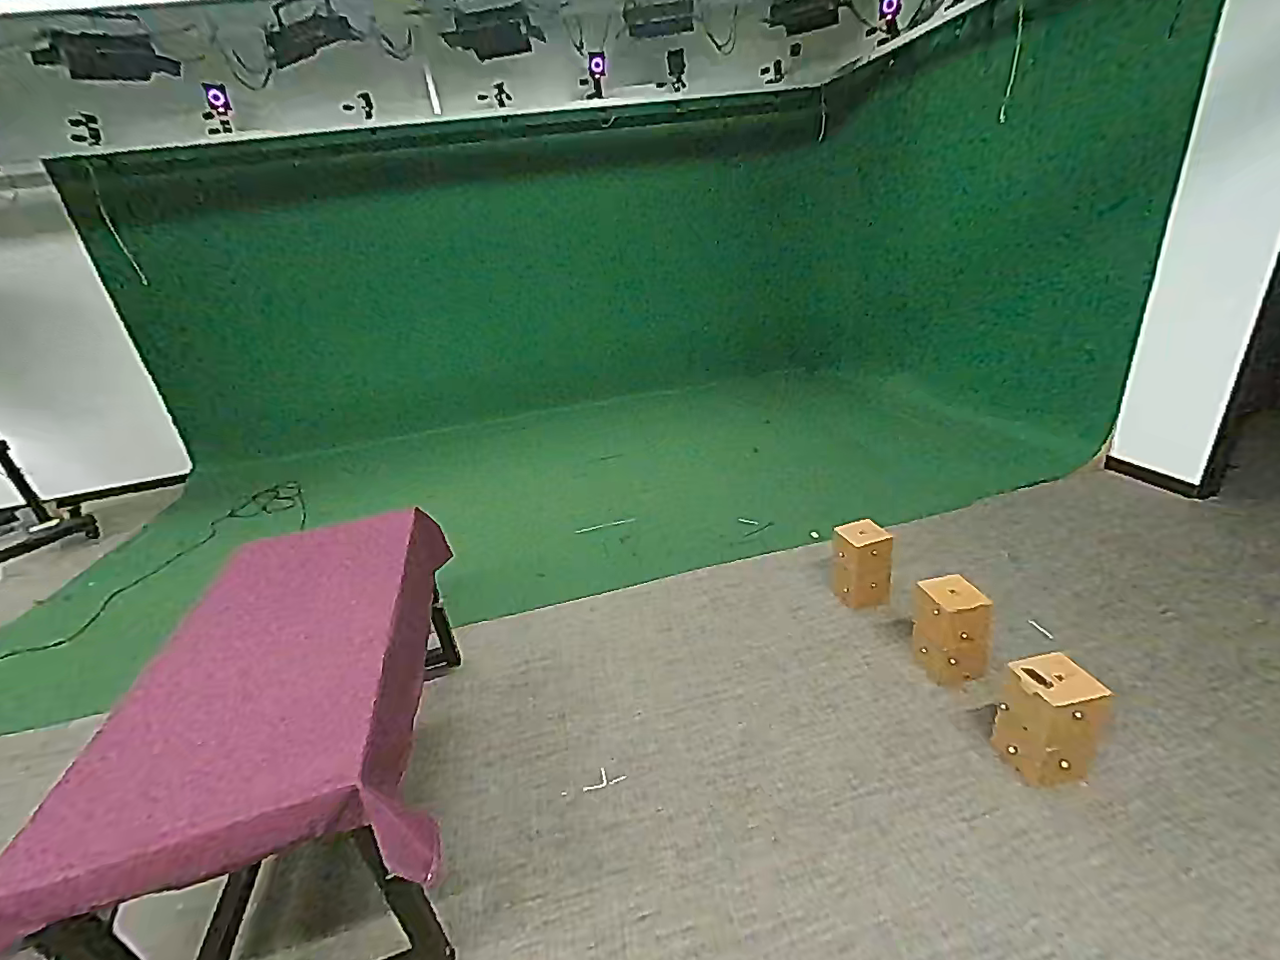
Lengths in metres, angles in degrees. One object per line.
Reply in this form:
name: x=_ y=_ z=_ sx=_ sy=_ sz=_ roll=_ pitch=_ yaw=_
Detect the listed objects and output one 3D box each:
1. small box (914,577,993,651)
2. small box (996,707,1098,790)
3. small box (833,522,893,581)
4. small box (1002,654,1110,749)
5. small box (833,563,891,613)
small box: x=1.082 y=0.466 z=1.883 sx=0.168 sy=0.176 sz=0.179 roll=-10 pitch=24 yaw=-6
small box: x=1.180 y=0.771 z=1.583 sx=0.179 sy=0.176 sz=0.168 roll=-11 pitch=25 yaw=-6
small box: x=0.938 y=0.304 z=2.281 sx=0.179 sy=0.176 sz=0.168 roll=-13 pitch=26 yaw=-11
small box: x=1.154 y=0.622 z=1.516 sx=0.179 sy=0.176 sz=0.168 roll=-10 pitch=25 yaw=-6
small box: x=0.962 y=0.452 z=2.349 sx=0.179 sy=0.176 sz=0.168 roll=-12 pitch=25 yaw=-10
